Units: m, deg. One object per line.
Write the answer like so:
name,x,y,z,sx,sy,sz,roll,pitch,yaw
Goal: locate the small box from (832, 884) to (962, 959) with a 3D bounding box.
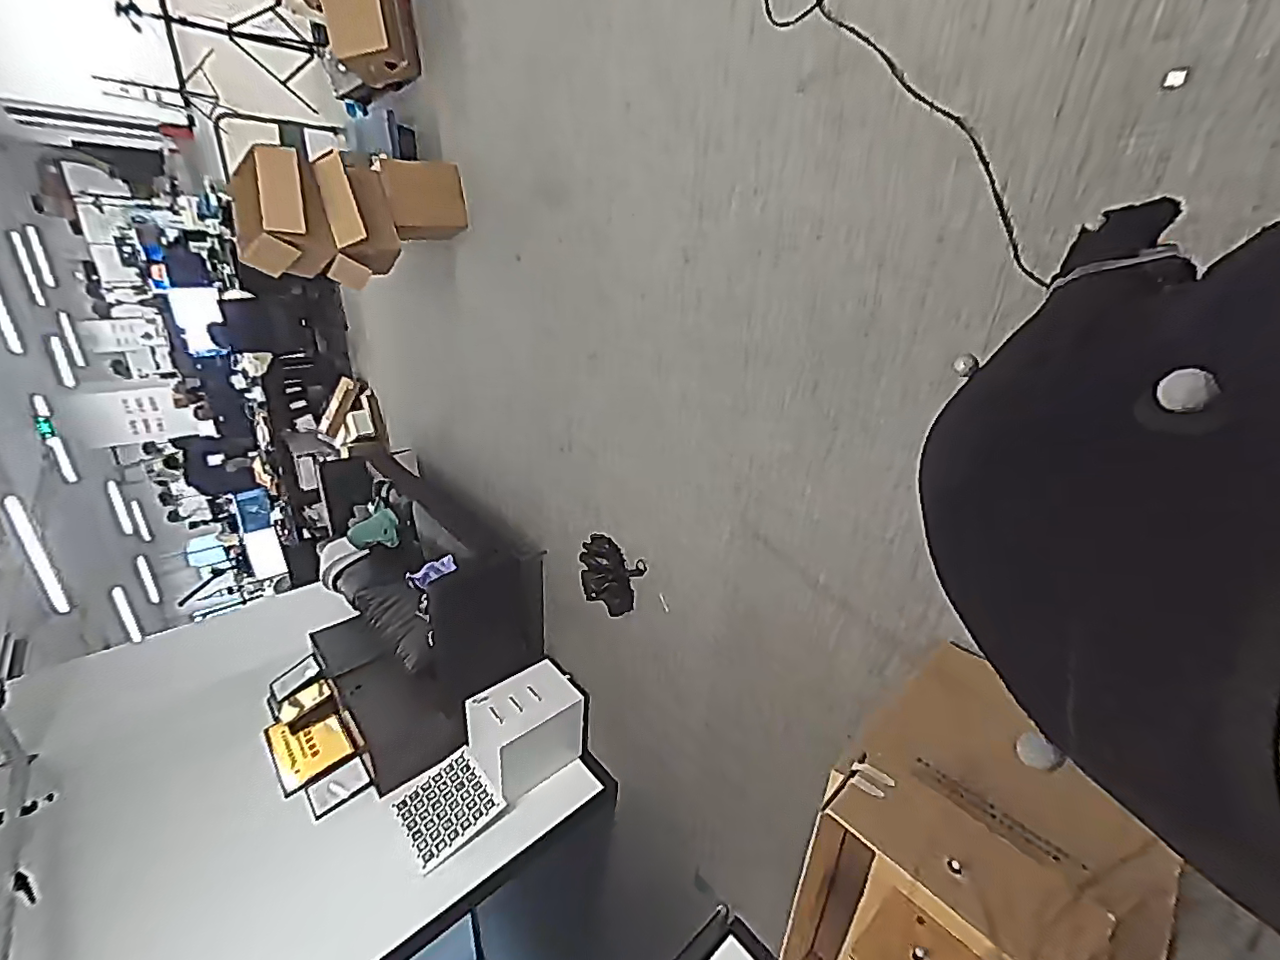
small box,0.451,0.885,0.964,0.168,0.176,0.179,26,122,43
